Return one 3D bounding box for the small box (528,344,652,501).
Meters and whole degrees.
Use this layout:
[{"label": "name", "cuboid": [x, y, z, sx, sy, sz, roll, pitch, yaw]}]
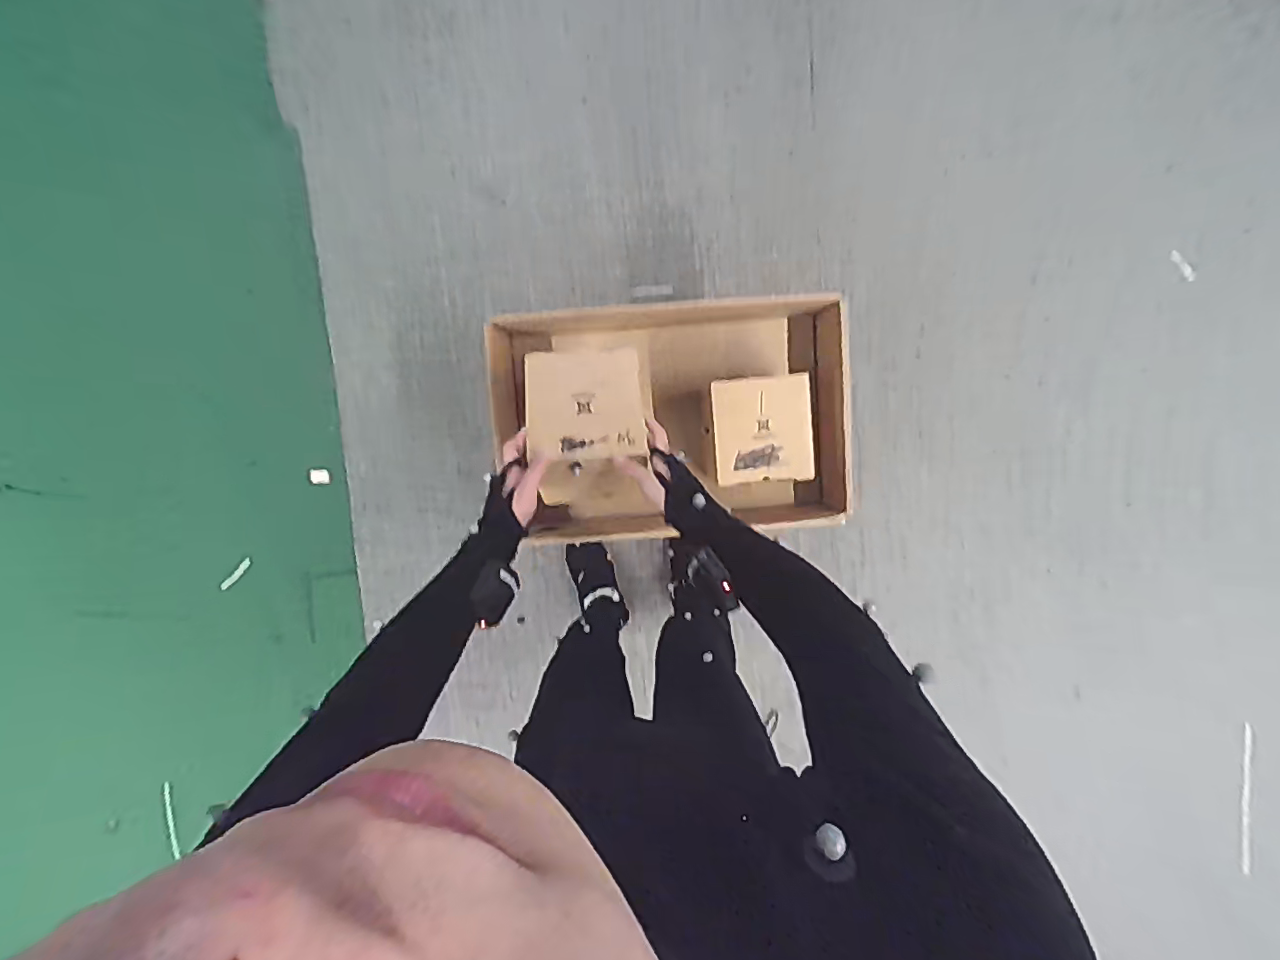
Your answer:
[{"label": "small box", "cuboid": [-0.074, -0.081, 0.819, 0.168, 0.176, 0.179, -4, 67, -3]}]
